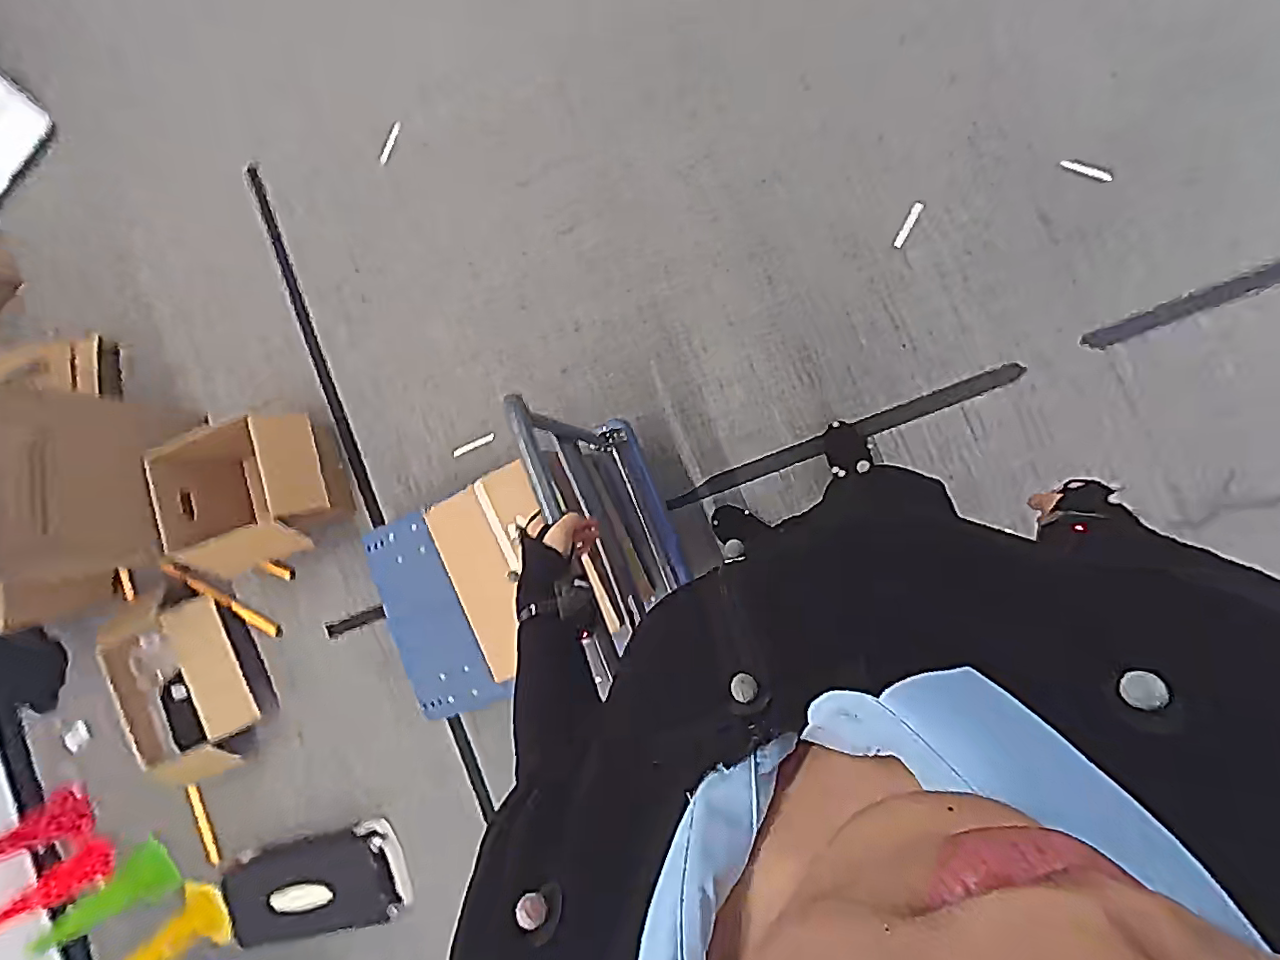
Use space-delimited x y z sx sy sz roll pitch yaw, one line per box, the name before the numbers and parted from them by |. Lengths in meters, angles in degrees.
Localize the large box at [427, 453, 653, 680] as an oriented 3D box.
large box | -0.216 0.186 1.281 0.320 0.320 0.408 -28 83 12
